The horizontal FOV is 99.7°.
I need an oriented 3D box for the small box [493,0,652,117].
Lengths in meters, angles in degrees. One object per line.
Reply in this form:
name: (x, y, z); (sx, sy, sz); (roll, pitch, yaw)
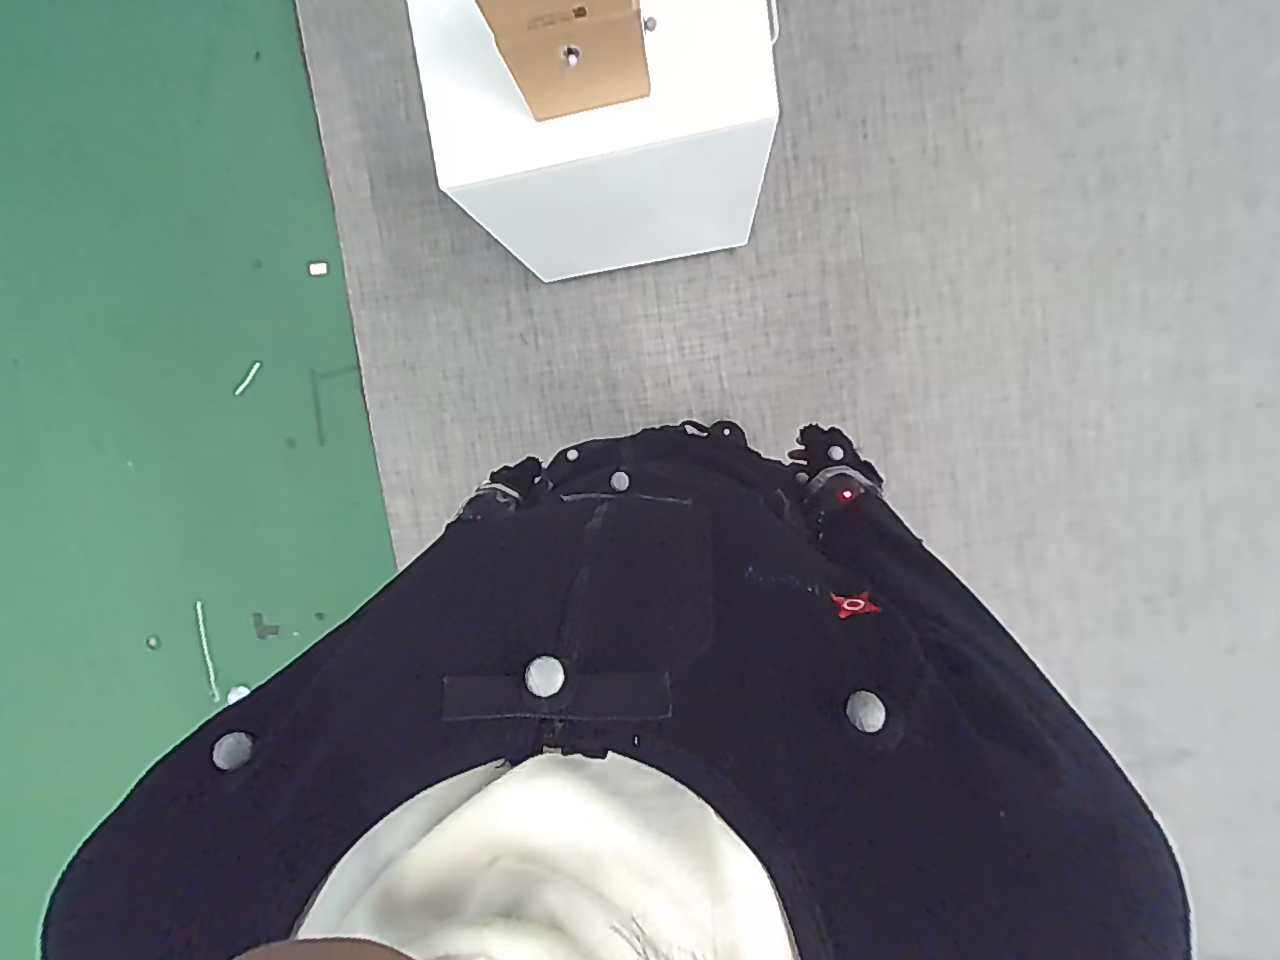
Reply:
small box: (-0.087, -0.610, 0.702); (0.179, 0.176, 0.168); (-8, 95, 6)

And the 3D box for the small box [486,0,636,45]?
small box: (-0.103, -0.598, 0.542); (0.168, 0.176, 0.179); (-9, 96, 6)
